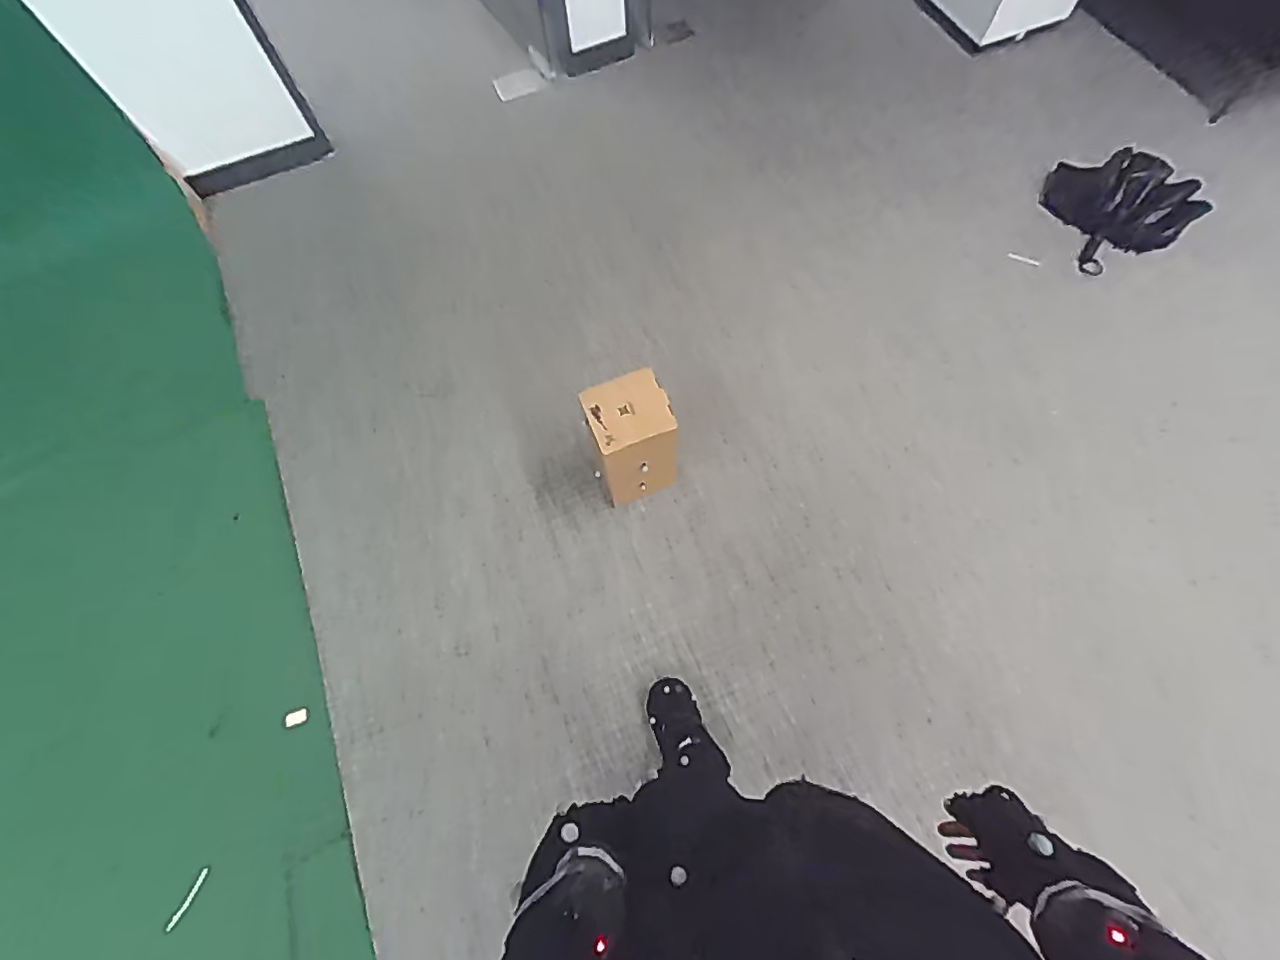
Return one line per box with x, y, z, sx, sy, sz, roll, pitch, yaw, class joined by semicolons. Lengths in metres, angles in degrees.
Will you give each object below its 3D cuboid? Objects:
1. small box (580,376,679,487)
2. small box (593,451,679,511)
-0.024;-0.106;1.246;0.179;0.176;0.168;-21;68;-7;small box
-0.015;-0.043;1.397;0.179;0.176;0.168;-24;69;-9;small box
